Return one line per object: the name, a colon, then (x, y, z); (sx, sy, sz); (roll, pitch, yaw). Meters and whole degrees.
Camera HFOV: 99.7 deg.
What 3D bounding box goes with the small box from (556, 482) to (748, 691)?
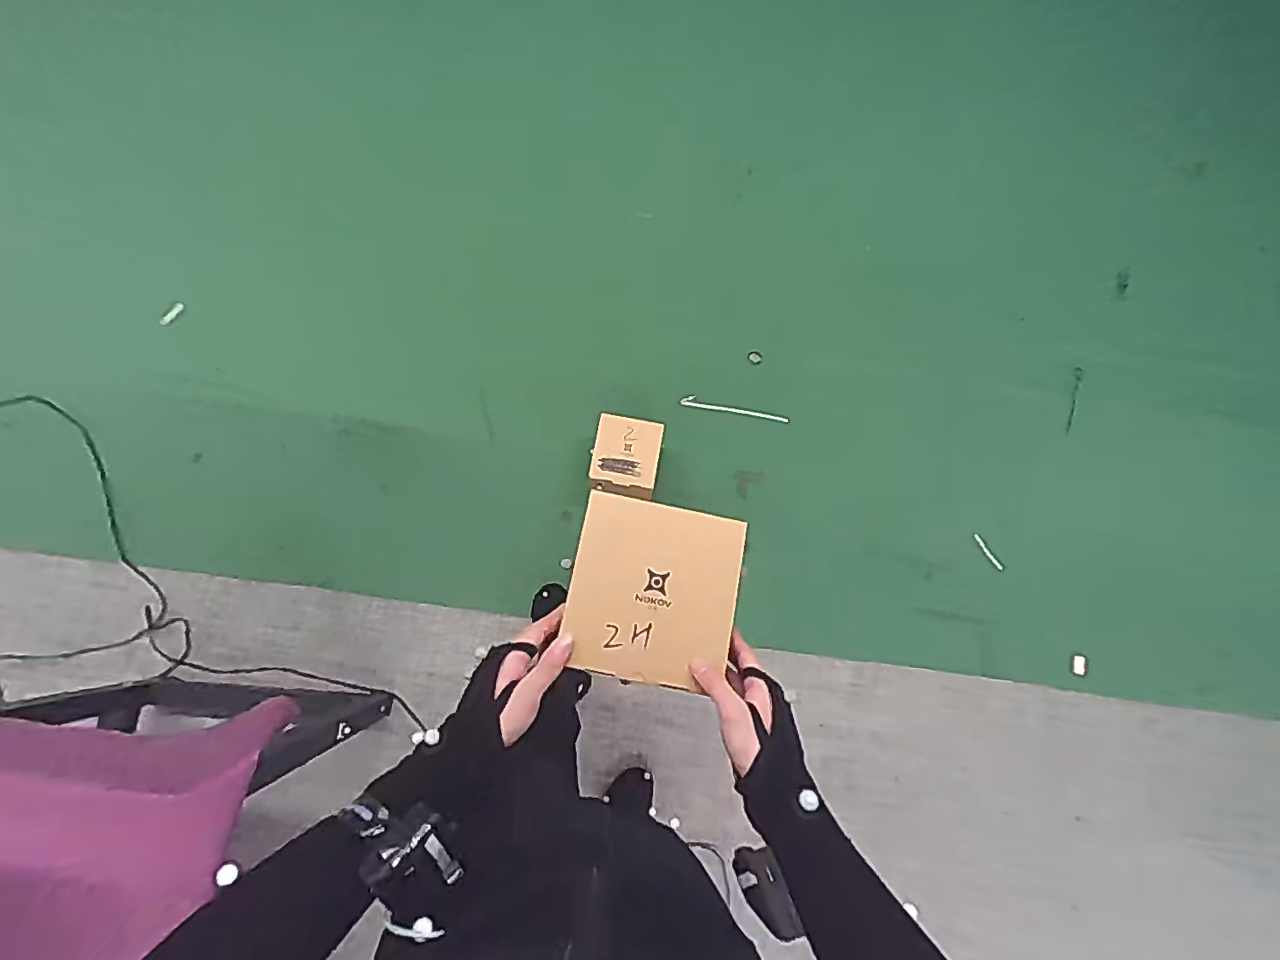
small box: (0.008, 0.120, 0.607); (0.168, 0.176, 0.179); (12, 76, -2)
